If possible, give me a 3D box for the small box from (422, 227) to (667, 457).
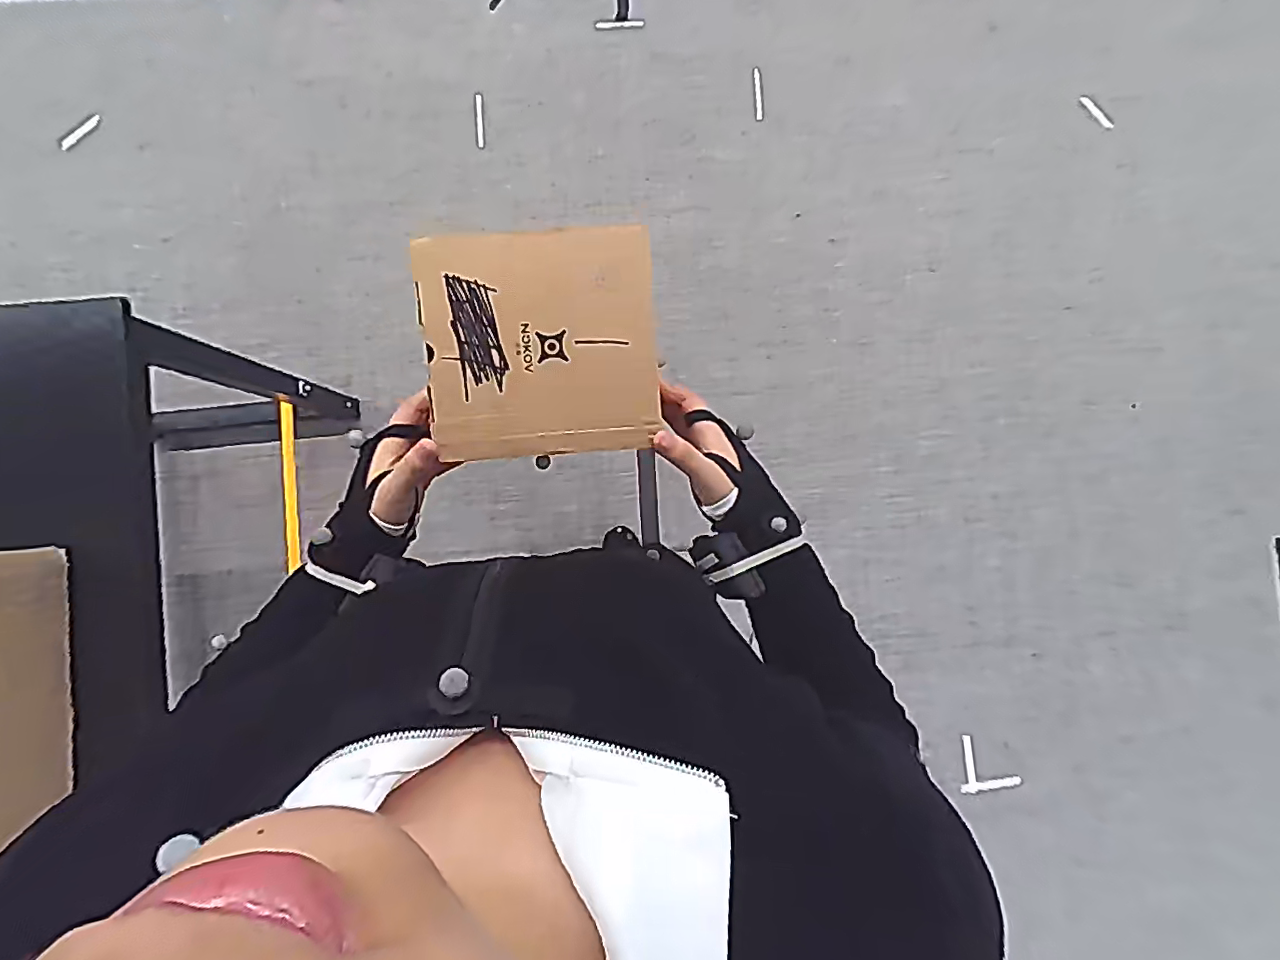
[{"bbox_3d":[-0.071,-0.110,0.483,0.179,0.176,0.168,-4,98,-2],"label":"small box"}]
